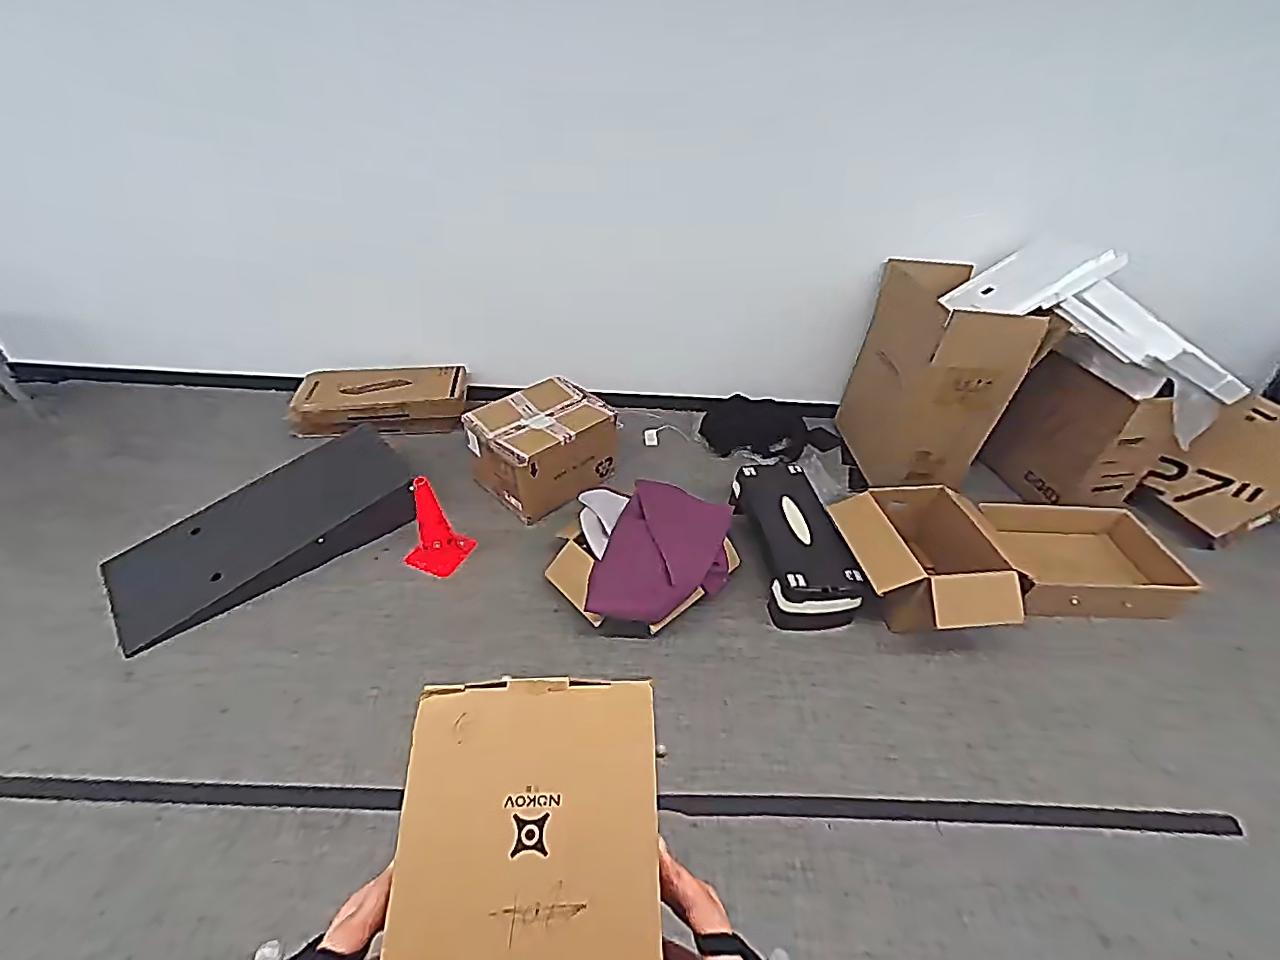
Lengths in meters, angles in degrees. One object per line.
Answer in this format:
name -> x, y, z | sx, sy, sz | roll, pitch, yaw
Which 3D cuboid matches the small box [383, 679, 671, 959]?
small box -> -0.069, 0.255, 0.409 | 0.168, 0.176, 0.179 | 0, 63, -3
